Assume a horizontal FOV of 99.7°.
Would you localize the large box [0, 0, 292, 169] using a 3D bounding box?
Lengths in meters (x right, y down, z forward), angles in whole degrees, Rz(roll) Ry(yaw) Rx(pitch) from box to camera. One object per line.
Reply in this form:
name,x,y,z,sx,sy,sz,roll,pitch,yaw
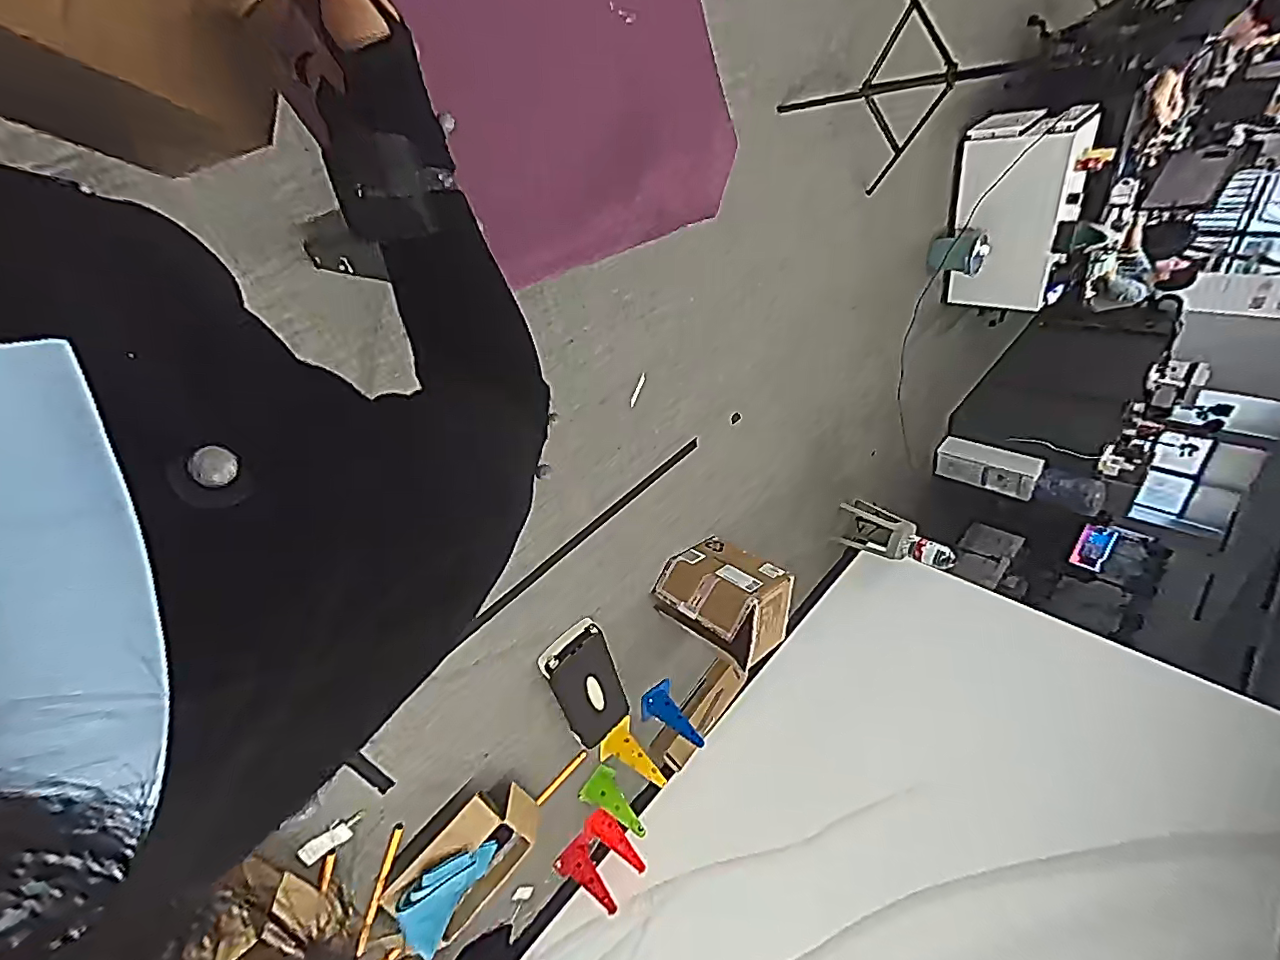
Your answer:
large box,-0.453,-0.423,0.289,0.408,0.320,0.320,2,102,-51
